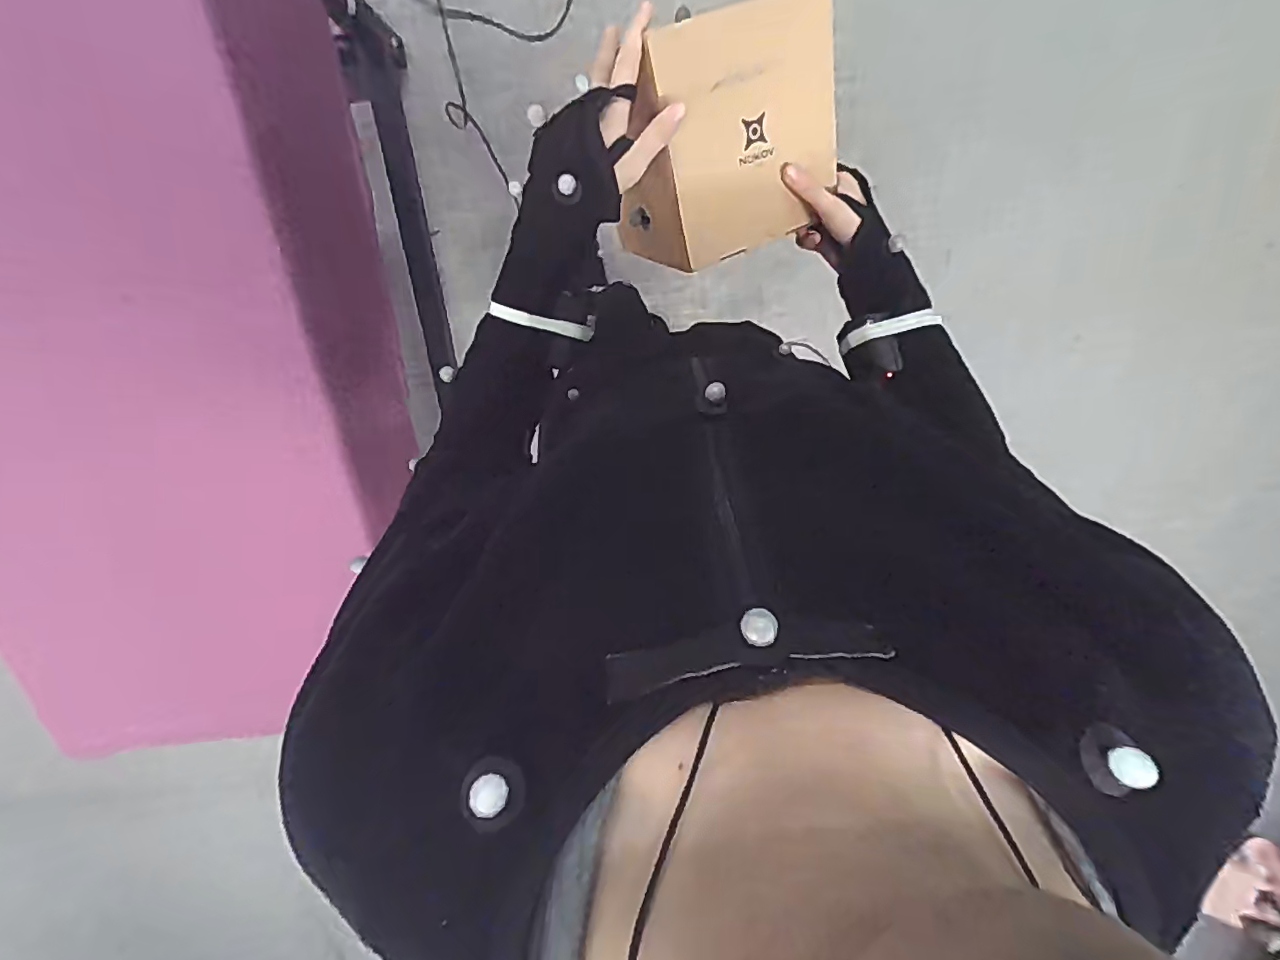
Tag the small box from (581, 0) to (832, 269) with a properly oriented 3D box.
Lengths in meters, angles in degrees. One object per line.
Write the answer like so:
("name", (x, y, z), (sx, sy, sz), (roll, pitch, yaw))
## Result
("small box", (0.061, -0.326, 0.517), (0.168, 0.176, 0.179), (-24, 125, -11))
